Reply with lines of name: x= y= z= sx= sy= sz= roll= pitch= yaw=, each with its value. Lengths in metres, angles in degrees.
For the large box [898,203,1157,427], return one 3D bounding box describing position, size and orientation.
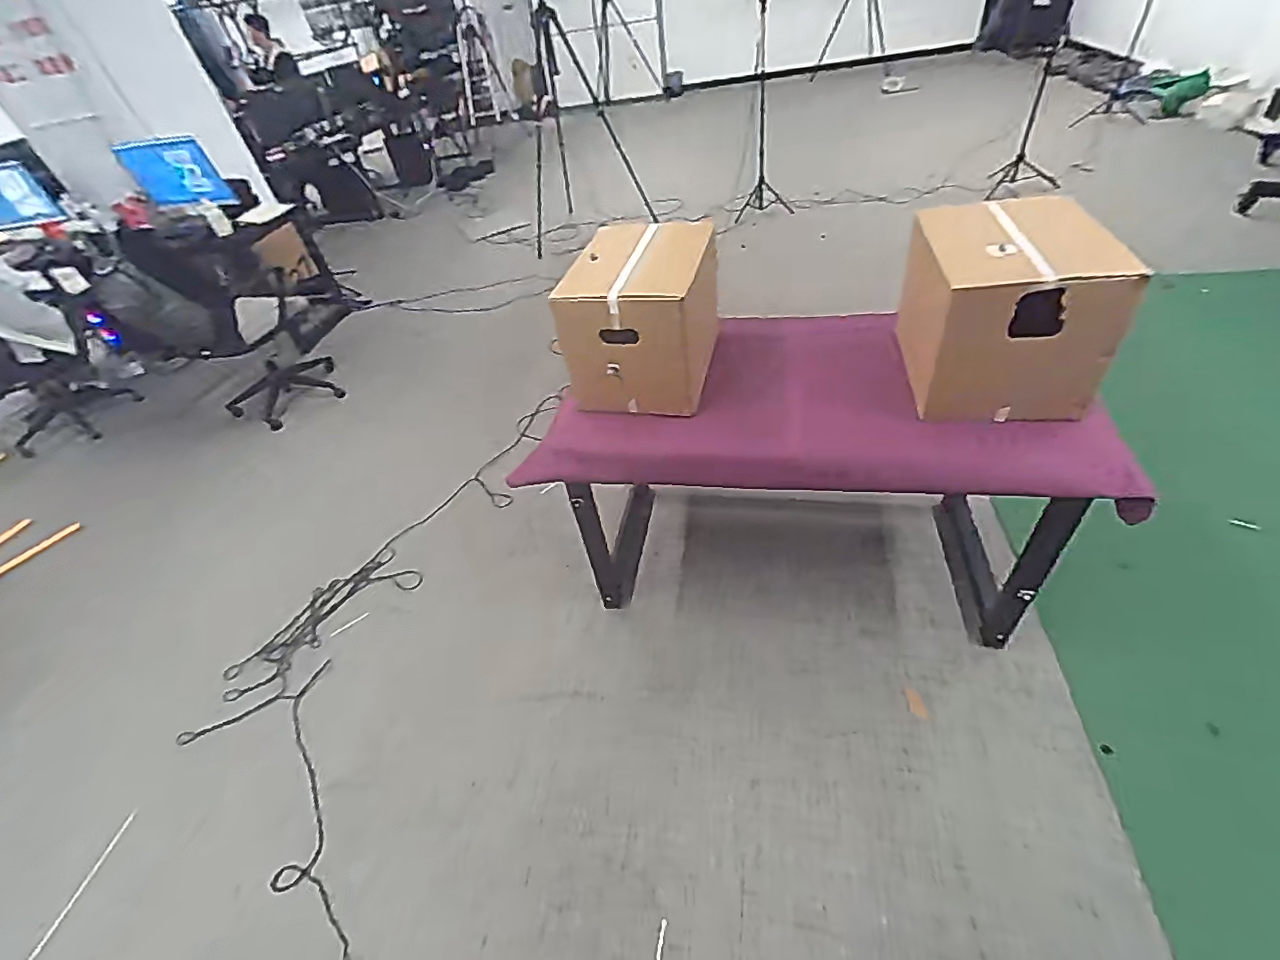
large box: x=0.781 y=-0.362 z=1.182 sx=0.320 sy=0.320 sz=0.408 roll=0 pitch=45 yaw=15
